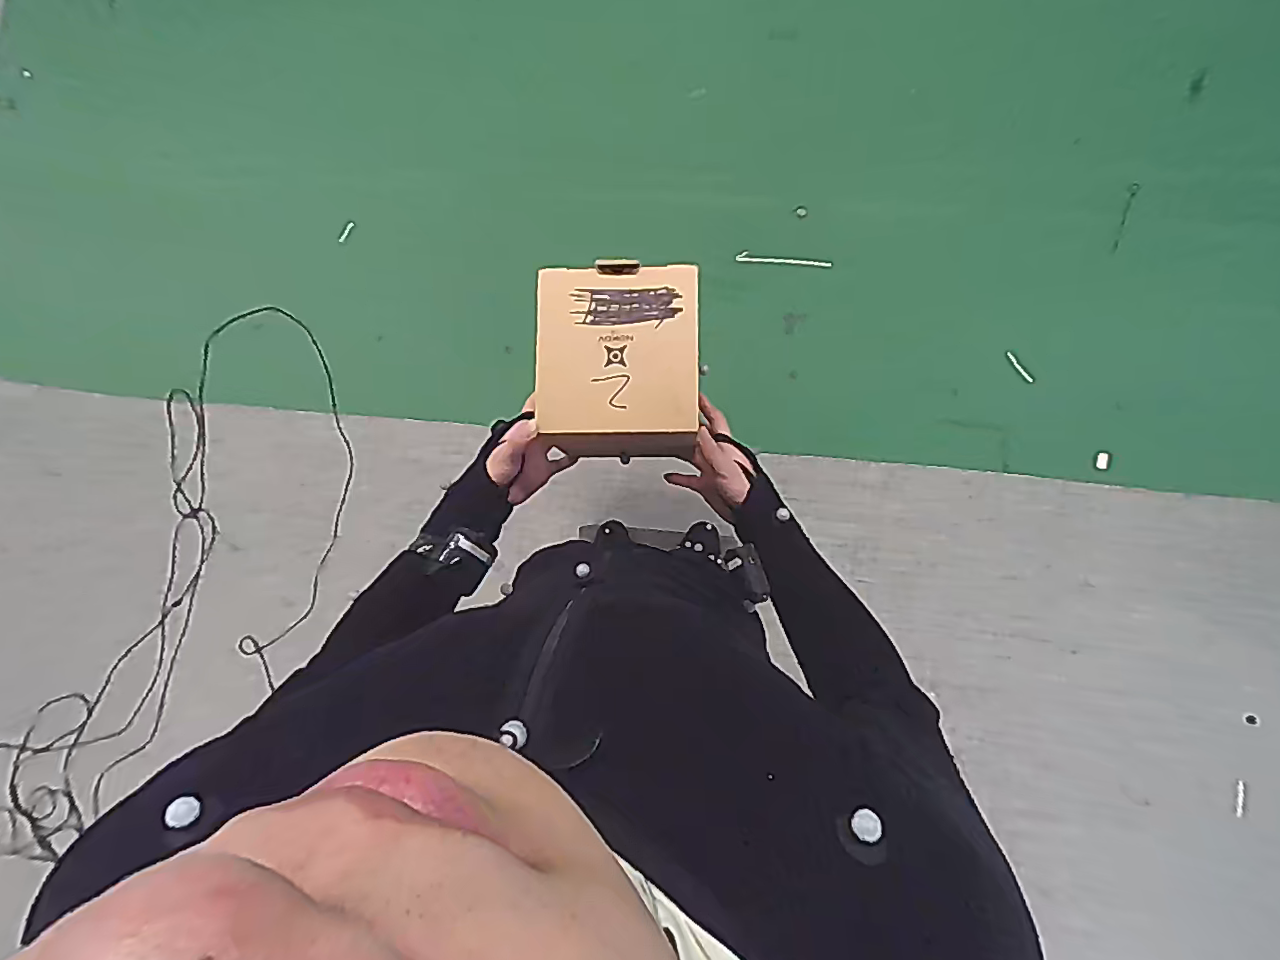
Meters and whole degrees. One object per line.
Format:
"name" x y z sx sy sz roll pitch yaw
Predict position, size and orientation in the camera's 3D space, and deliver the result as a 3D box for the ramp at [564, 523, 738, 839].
"ramp" 0.022 0.640 1.692 0.509 0.206 0.991 3 87 6
